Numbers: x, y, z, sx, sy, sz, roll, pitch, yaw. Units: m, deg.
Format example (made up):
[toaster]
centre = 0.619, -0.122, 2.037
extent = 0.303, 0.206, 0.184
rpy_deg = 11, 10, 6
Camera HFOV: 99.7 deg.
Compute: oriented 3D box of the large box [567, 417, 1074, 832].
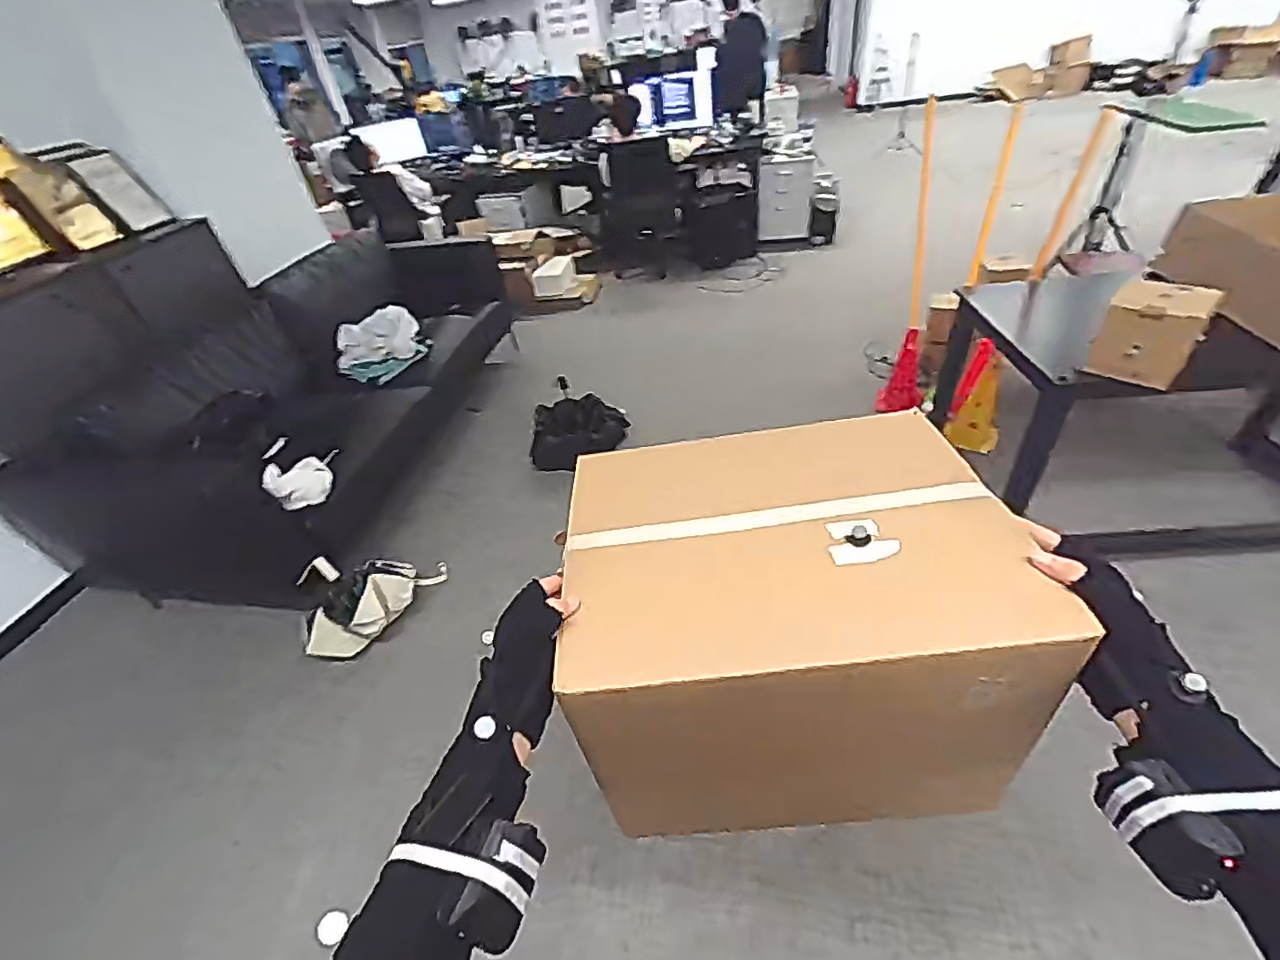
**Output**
[large box]
centre = 0.149, 0.161, 0.624
extent = 0.408, 0.320, 0.320
rpy_deg = -8, 38, 3
